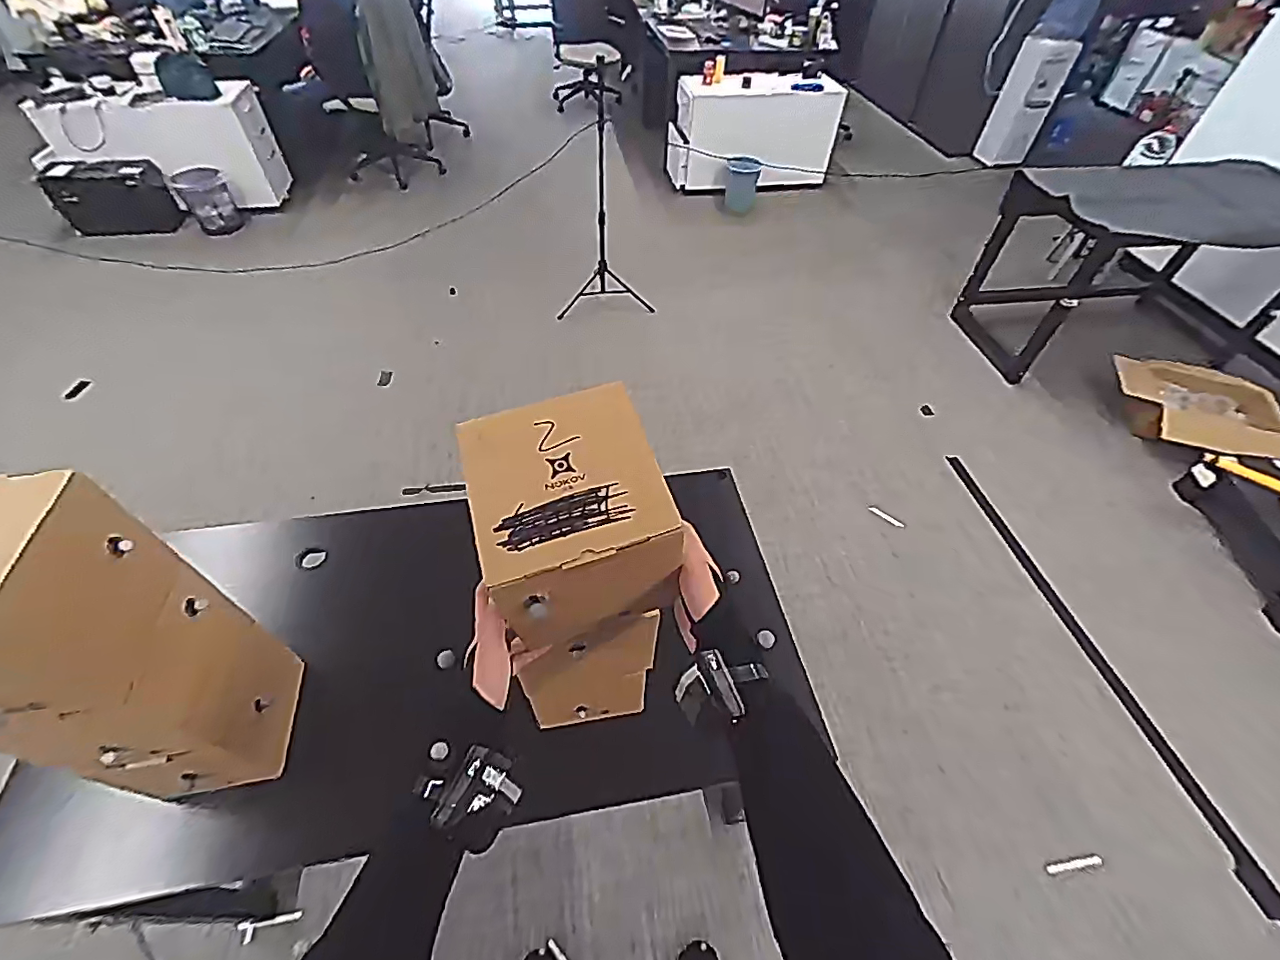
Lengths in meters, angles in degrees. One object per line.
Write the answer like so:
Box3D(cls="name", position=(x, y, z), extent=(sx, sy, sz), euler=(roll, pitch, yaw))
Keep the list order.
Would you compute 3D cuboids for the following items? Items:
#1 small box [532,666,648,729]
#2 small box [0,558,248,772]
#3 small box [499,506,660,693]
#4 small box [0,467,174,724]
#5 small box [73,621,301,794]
Box3D(cls="small box", position=(-0.086, 0.262, 0.842), extent=(0.168, 0.176, 0.179), euler=(-7, 51, -8))
Box3D(cls="small box", position=(-0.608, 0.219, 0.640), extent=(0.168, 0.176, 0.179), euler=(-8, 51, -8))
Box3D(cls="small box", position=(-0.080, 0.161, 0.712), extent=(0.179, 0.176, 0.168), euler=(-9, 51, -11))
Box3D(cls="small box", position=(-0.602, 0.114, 0.515), extent=(0.168, 0.176, 0.179), euler=(-8, 51, -8))
Box3D(cls="small box", position=(-0.613, 0.327, 0.765), extent=(0.168, 0.176, 0.179), euler=(-8, 51, -9))
